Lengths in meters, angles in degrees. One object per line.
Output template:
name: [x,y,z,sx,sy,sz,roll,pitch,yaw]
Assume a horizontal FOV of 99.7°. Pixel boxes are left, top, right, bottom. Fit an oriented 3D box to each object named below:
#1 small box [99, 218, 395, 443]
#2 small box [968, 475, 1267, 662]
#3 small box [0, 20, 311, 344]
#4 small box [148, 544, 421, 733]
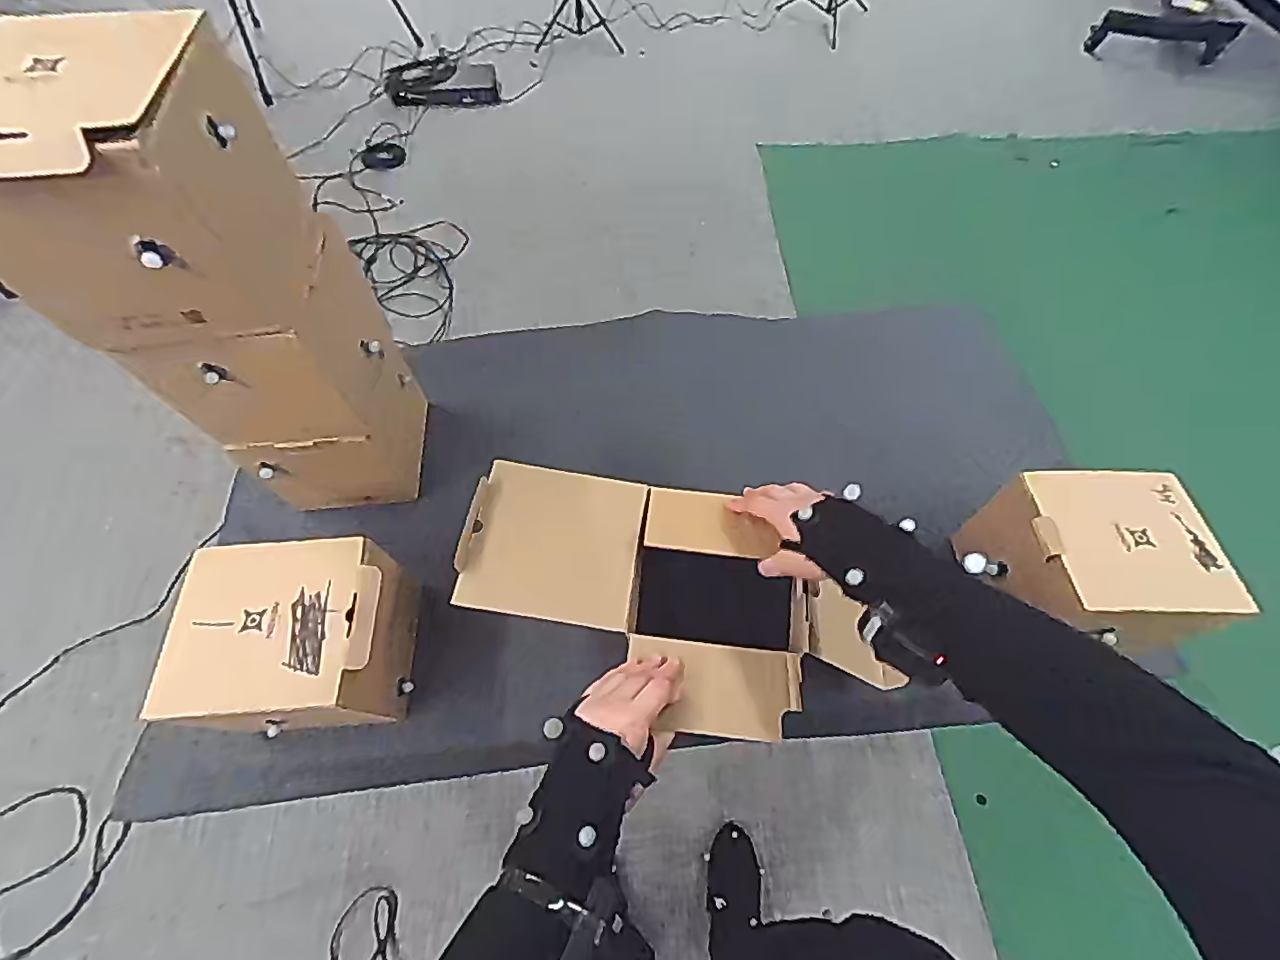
small box: [-0.391,-0.151,0.580,0.179,0.176,0.168,-4,63,-3]
small box: [0.514,0.108,0.625,0.179,0.176,0.168,0,57,1]
small box: [-0.397,-0.226,0.436,0.168,0.176,0.179,-7,61,-6]
small box: [-0.358,0.179,0.591,0.179,0.176,0.168,-3,62,-2]
